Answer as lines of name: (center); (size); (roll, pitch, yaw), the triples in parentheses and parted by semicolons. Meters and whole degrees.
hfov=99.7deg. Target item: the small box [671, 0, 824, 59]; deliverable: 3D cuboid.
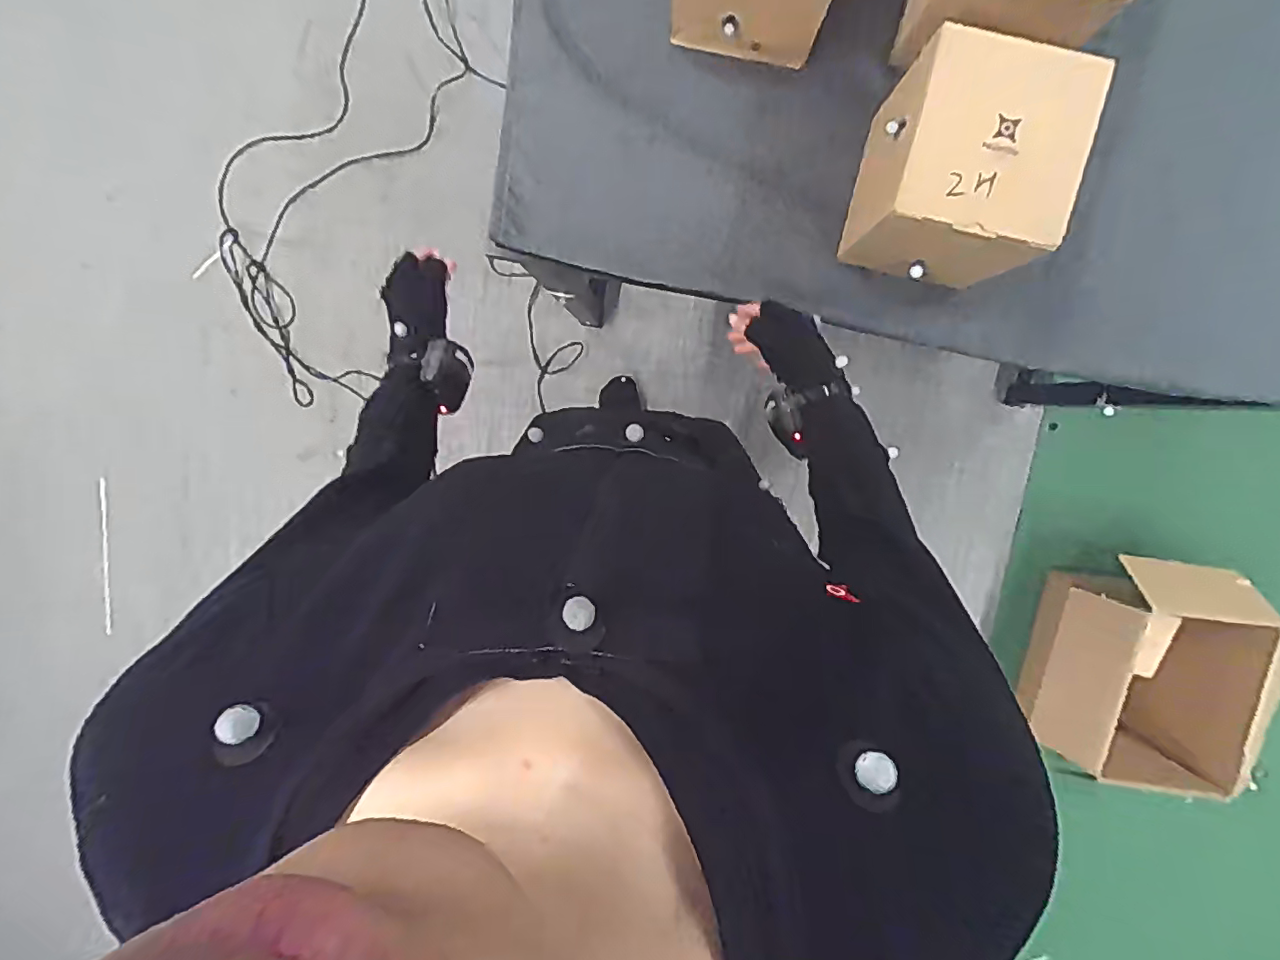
small box: (0.127, -0.593, 0.559); (0.168, 0.176, 0.179); (11, 100, -1)

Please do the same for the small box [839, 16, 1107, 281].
small box: (0.340, -0.340, 0.593); (0.168, 0.176, 0.179); (13, 98, -1)
